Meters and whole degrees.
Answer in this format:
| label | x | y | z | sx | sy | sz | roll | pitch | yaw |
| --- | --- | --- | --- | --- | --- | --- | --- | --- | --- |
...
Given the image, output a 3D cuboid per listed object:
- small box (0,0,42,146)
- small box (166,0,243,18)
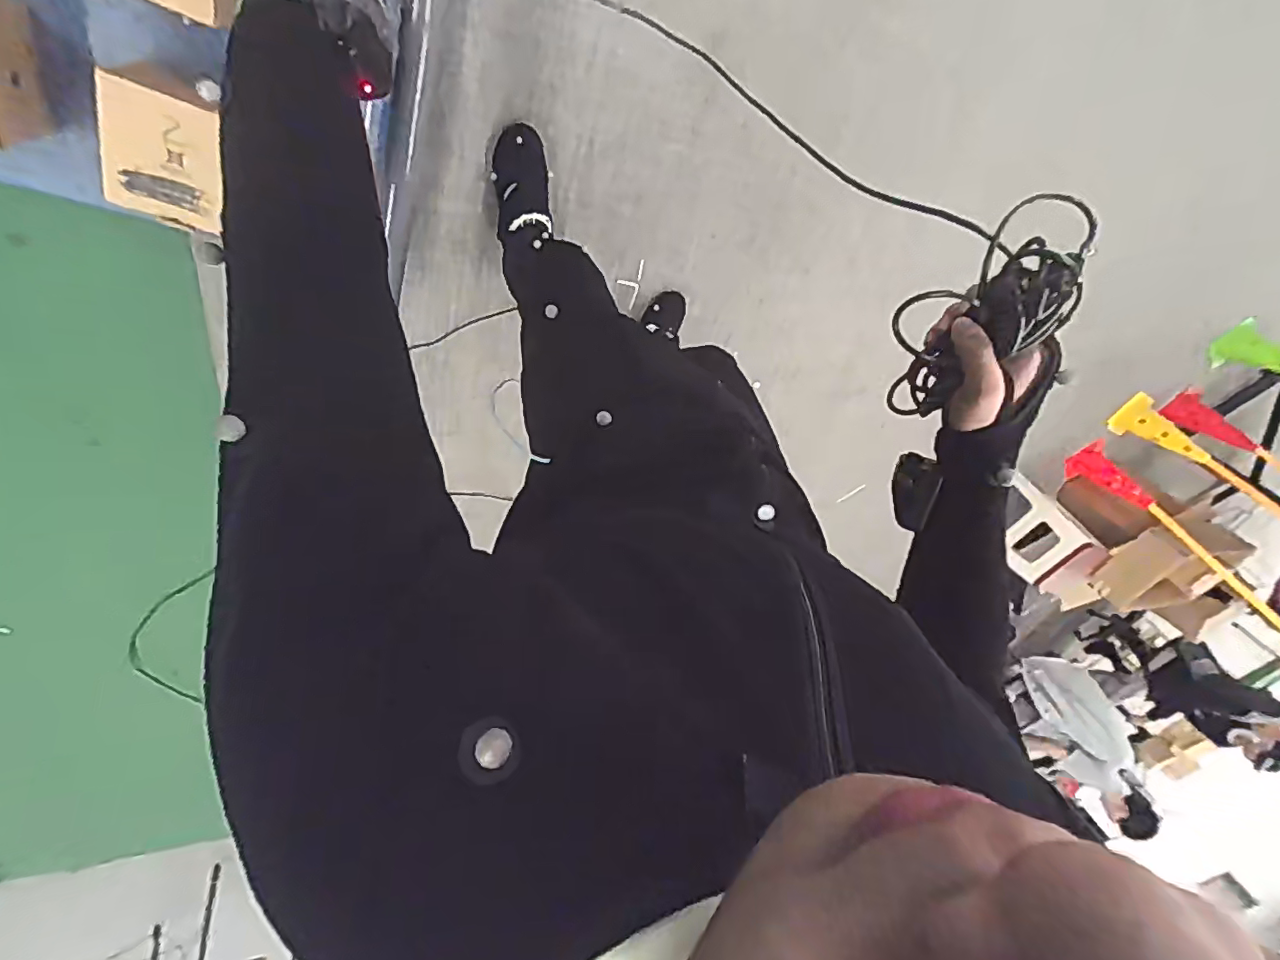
| label | x | y | z | sx | sy | sz | roll | pitch | yaw |
| --- | --- | --- | --- | --- | --- | --- | --- | --- | --- |
| small box | -0.941 | -0.566 | 0.701 | 0.179 | 0.176 | 0.168 | 4 | 127 | -25 |
| small box | -0.628 | -0.728 | 0.686 | 0.179 | 0.176 | 0.168 | 8 | 126 | -29 |
